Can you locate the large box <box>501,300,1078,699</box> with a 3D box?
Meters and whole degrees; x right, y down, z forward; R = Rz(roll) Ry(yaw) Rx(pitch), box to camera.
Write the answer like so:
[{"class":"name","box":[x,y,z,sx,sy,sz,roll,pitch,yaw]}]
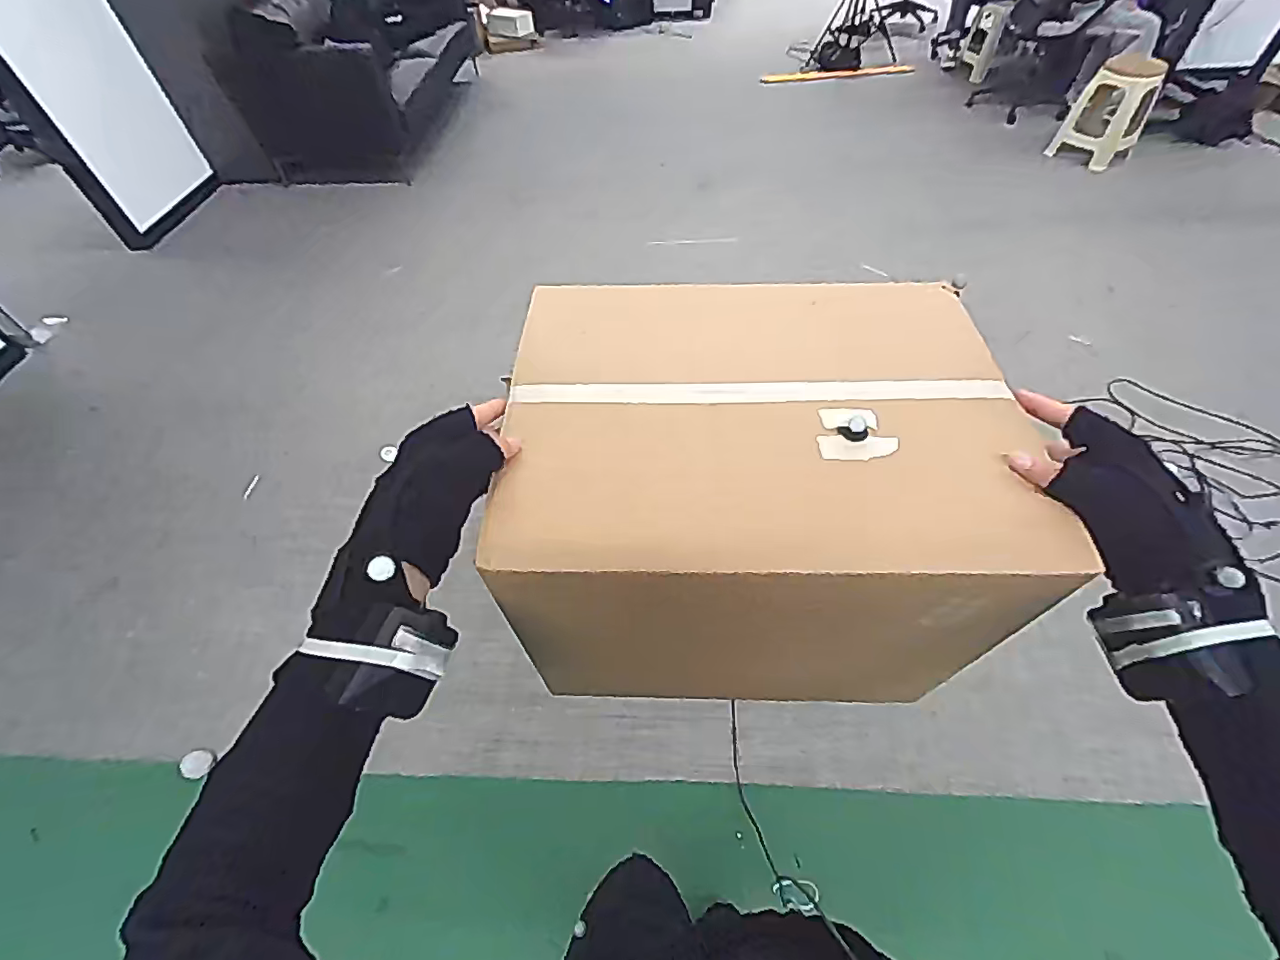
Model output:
[{"class":"large box","box":[0.101,0.031,0.574,0.408,0.320,0.320,0,54,1]}]
